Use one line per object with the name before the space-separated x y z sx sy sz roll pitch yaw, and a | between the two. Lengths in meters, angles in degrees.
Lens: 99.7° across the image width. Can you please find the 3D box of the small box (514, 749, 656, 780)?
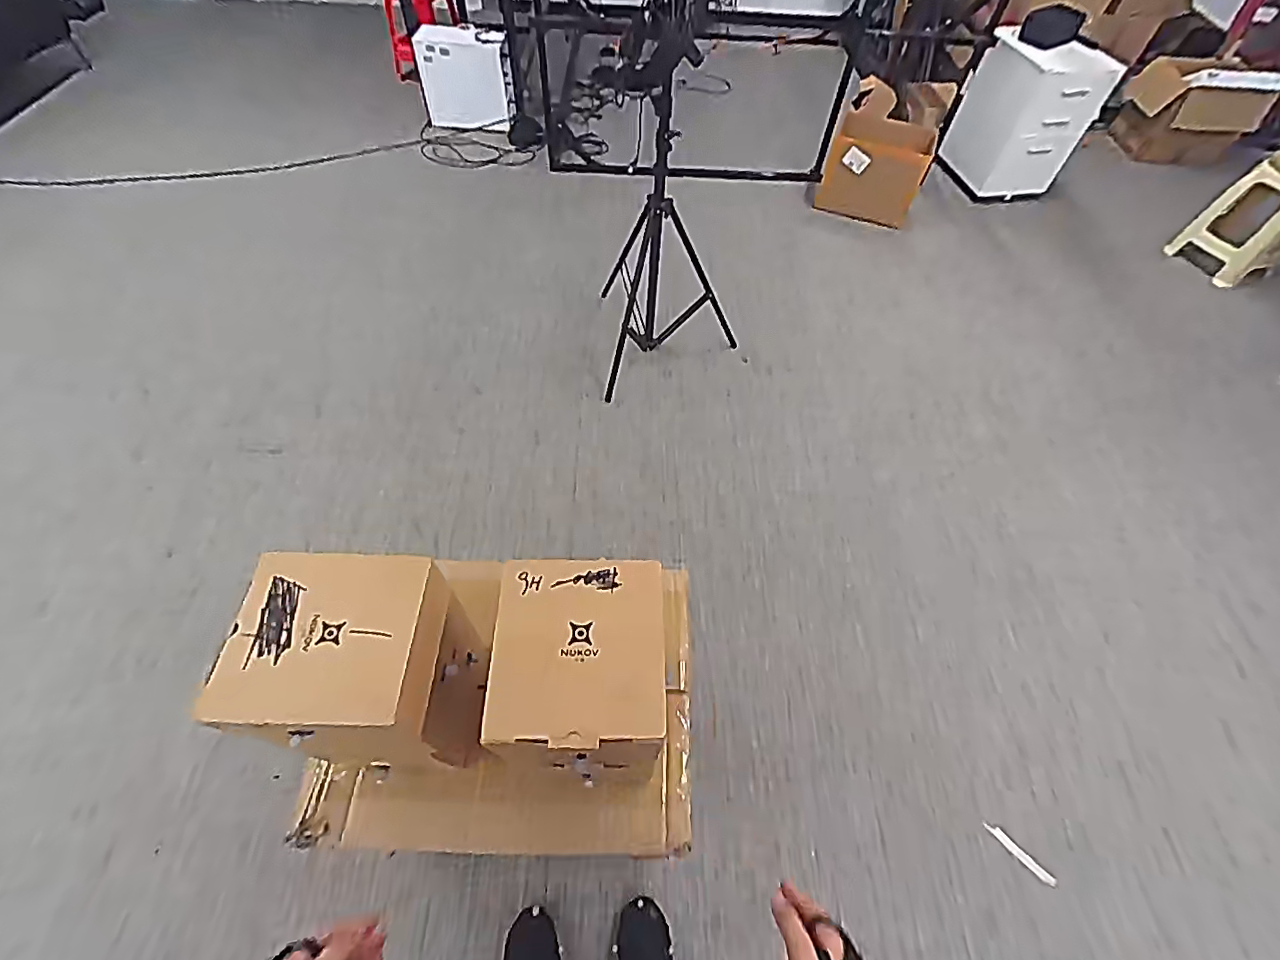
small box | -0.063 0.295 0.729 0.168 0.176 0.179 1 56 0

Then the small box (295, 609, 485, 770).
small box | -0.316 0.282 0.728 0.168 0.176 0.179 2 57 -1

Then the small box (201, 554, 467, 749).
small box | -0.306 0.192 0.591 0.179 0.176 0.168 2 56 -2

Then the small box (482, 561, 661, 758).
small box | -0.061 0.202 0.593 0.168 0.176 0.179 0 57 -1
